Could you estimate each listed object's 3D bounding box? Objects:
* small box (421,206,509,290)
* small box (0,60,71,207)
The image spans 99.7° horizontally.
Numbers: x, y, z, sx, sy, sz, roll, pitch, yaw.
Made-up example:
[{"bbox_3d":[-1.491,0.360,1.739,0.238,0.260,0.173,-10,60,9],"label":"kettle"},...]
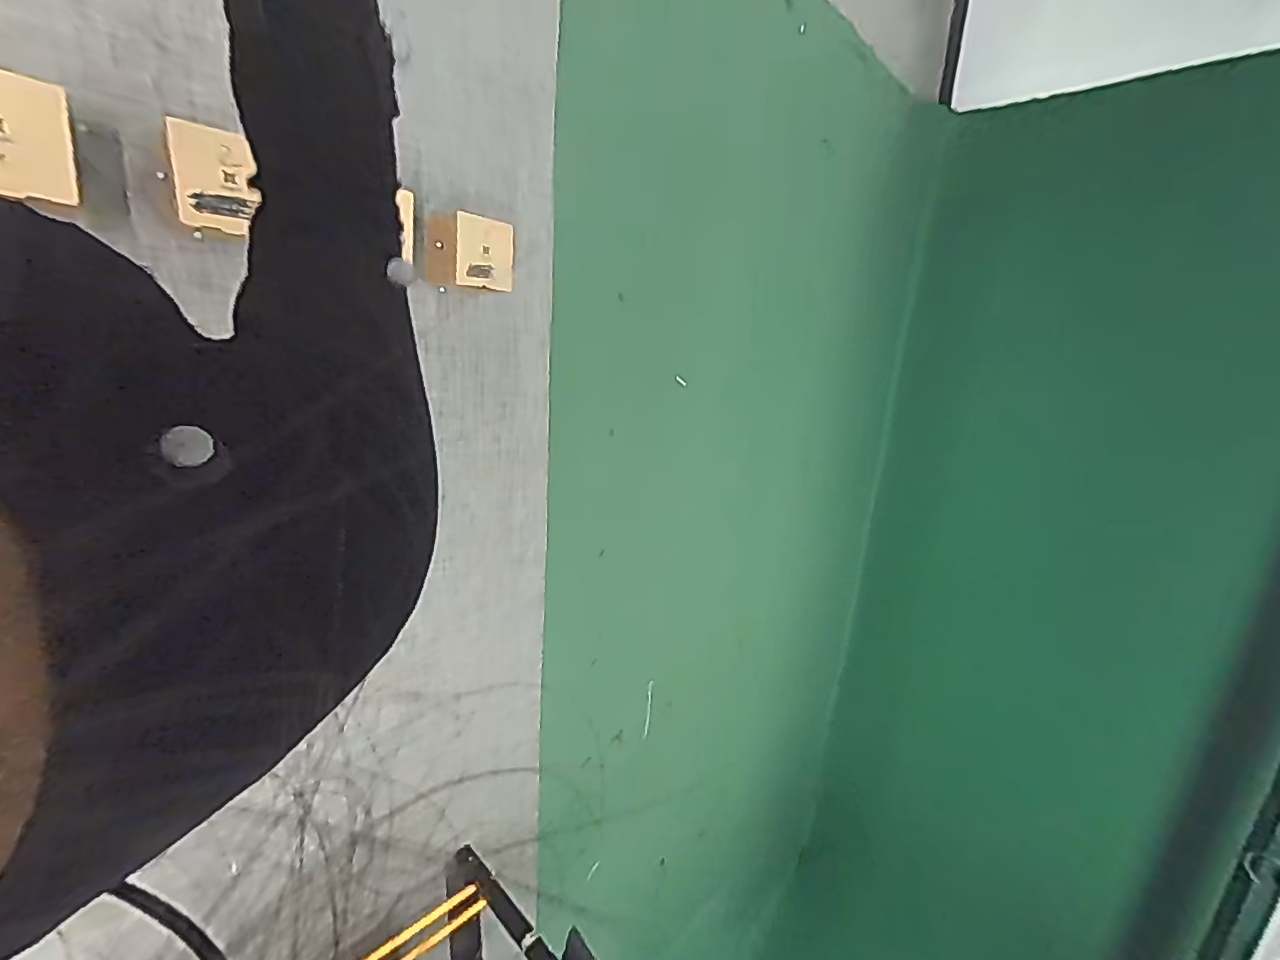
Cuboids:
[{"bbox_3d":[-0.472,-0.612,1.448,0.168,0.176,0.179,-8,109,-47],"label":"small box"},{"bbox_3d":[-1.027,-0.550,0.850,0.168,0.176,0.179,-8,109,-46],"label":"small box"}]
